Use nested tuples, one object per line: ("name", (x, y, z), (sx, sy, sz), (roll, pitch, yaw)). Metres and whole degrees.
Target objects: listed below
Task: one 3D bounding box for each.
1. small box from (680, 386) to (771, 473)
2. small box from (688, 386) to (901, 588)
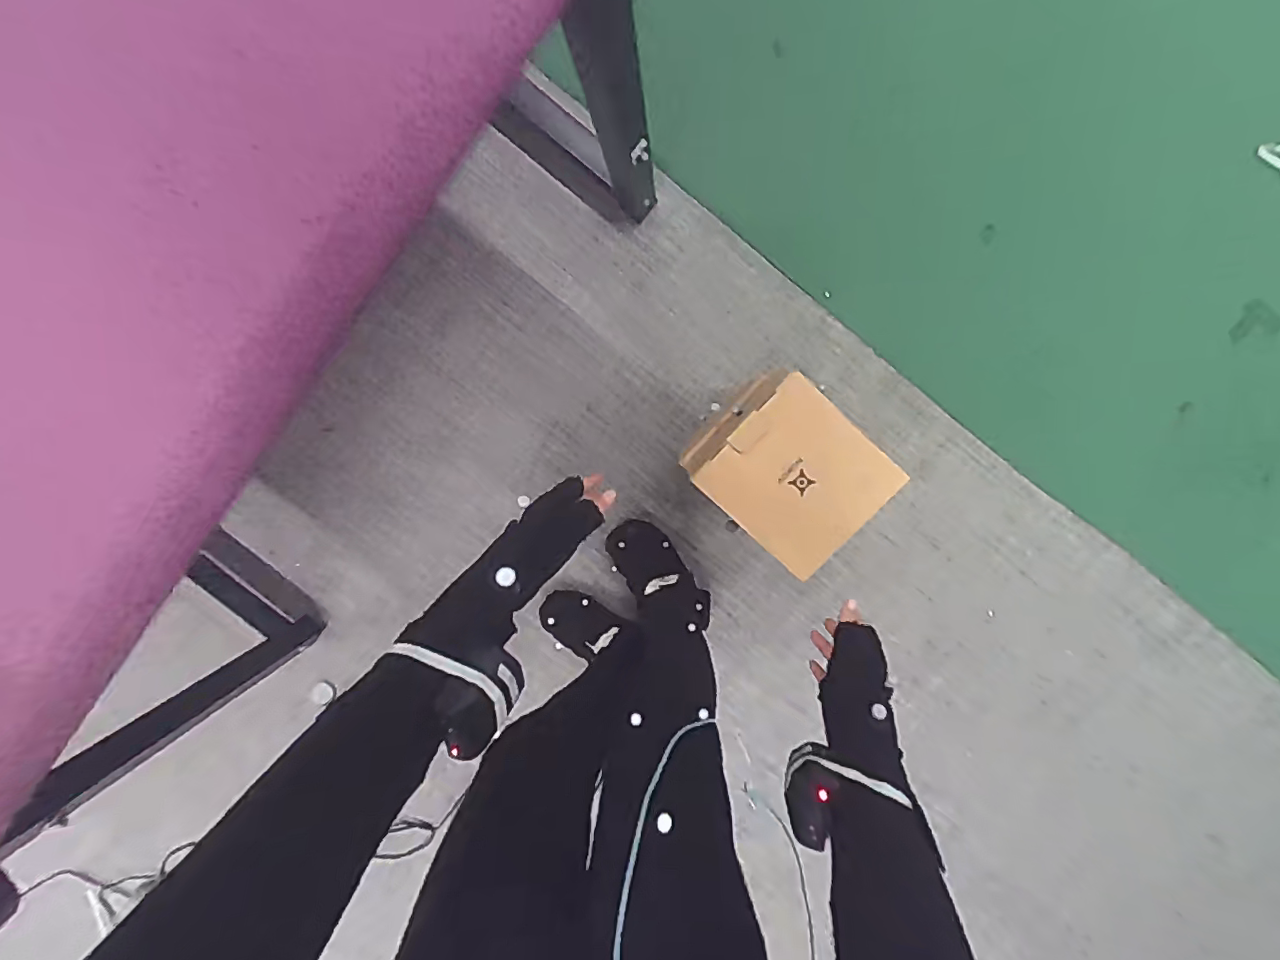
("small box", (0.180, -0.030, 0.837), (0.179, 0.176, 0.168), (44, 99, -3))
("small box", (0.177, -0.003, 0.677), (0.179, 0.176, 0.168), (43, 99, -3))
